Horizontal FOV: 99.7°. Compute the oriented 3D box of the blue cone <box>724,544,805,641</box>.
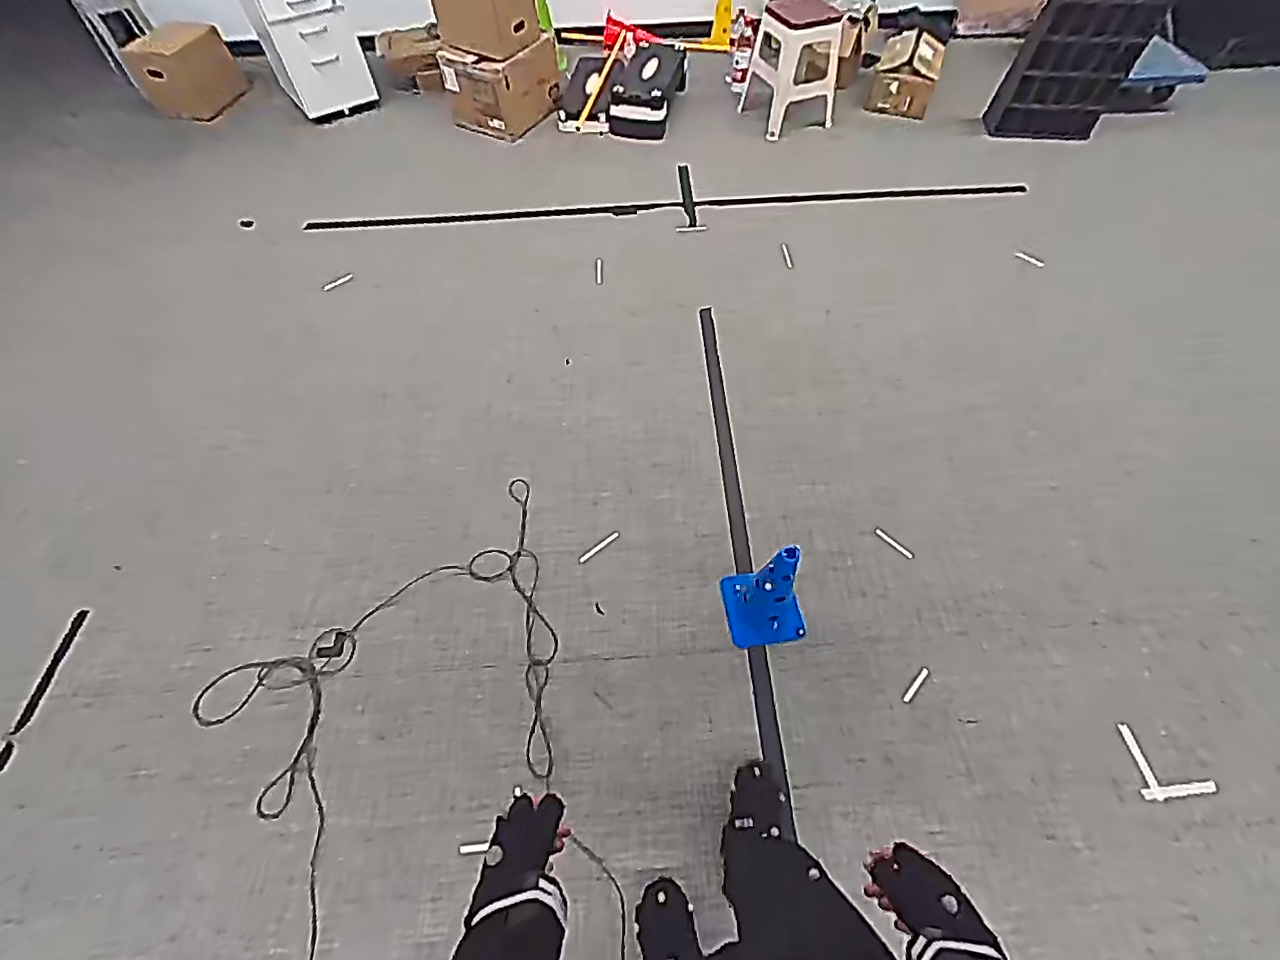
[{"bbox_3d":[0.334,0.255,1.339,0.192,0.380,0.193,-5,58,-4],"label":"blue cone"}]
